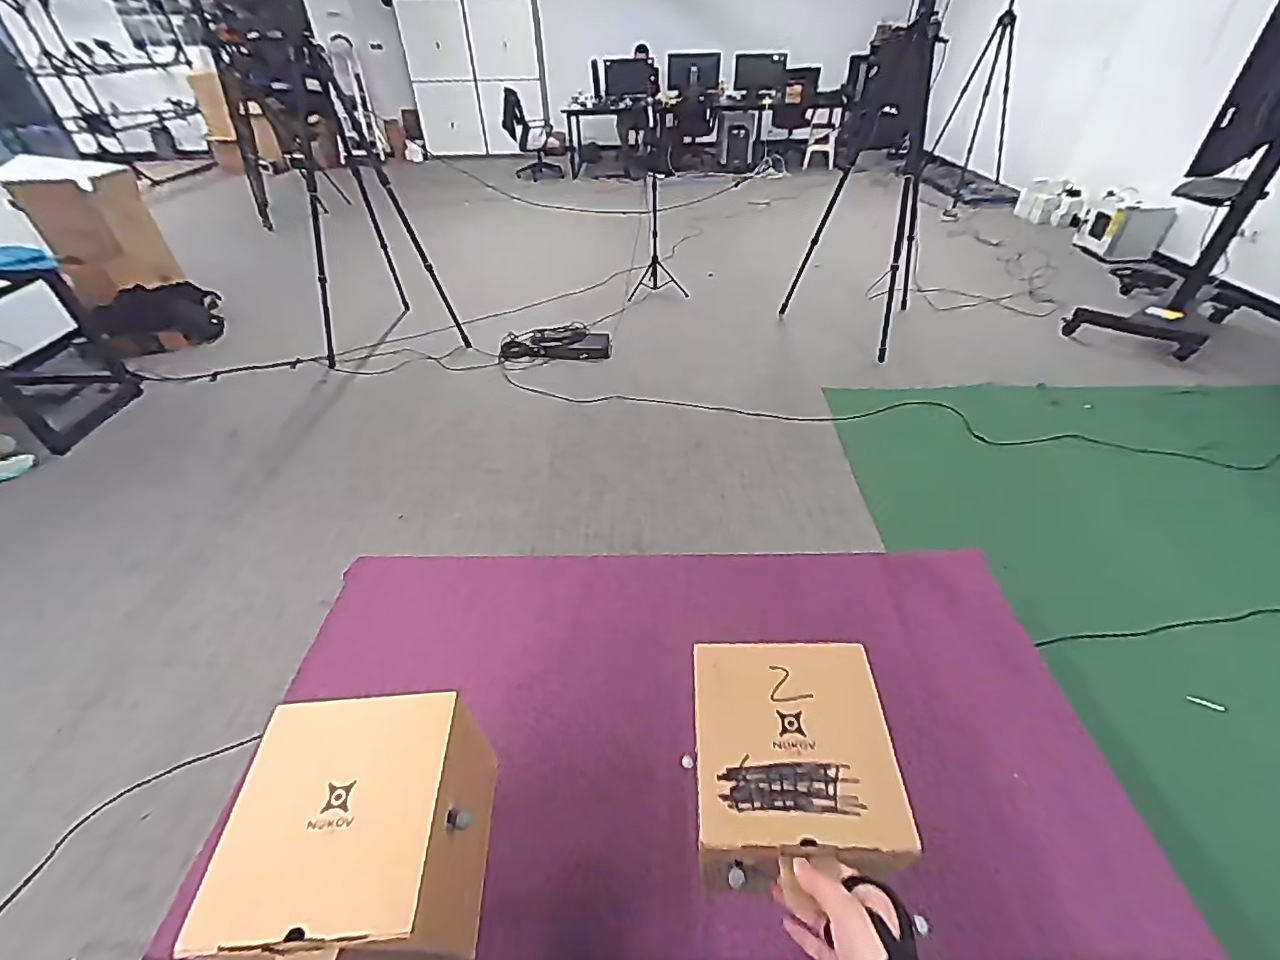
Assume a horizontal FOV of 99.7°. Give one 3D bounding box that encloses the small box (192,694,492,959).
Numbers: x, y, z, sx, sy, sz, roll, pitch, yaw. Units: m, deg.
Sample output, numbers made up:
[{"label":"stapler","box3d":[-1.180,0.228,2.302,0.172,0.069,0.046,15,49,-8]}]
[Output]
[{"label":"small box","box3d":[-0.243,0.323,0.502,0.168,0.176,0.179,-4,45,-1]}]
